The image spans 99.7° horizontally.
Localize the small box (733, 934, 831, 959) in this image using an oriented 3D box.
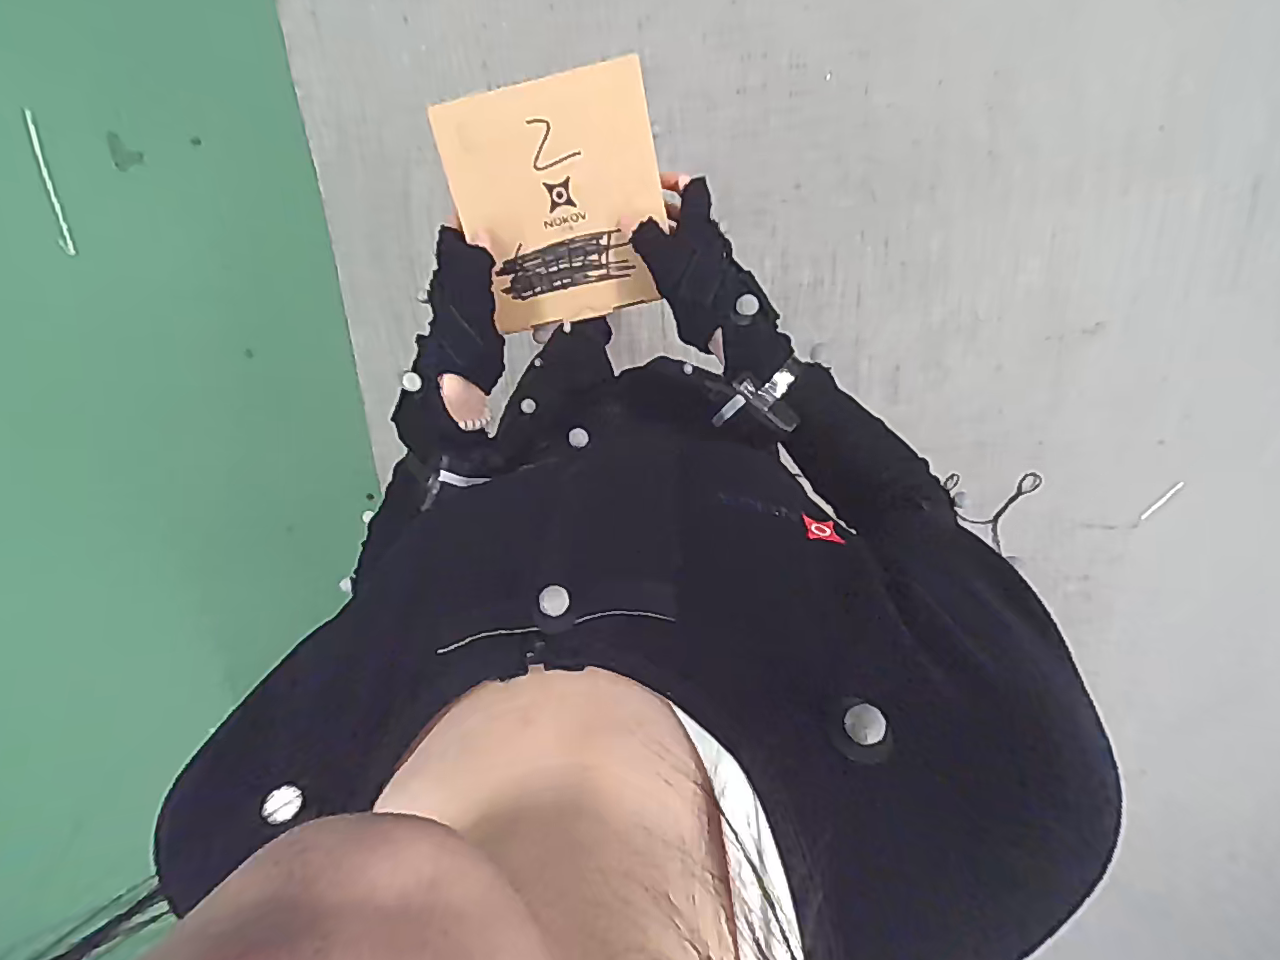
[{"bbox_3d":[0.260,0.941,0.944,0.179,0.176,0.168,-5,105,1],"label":"small box"}]
